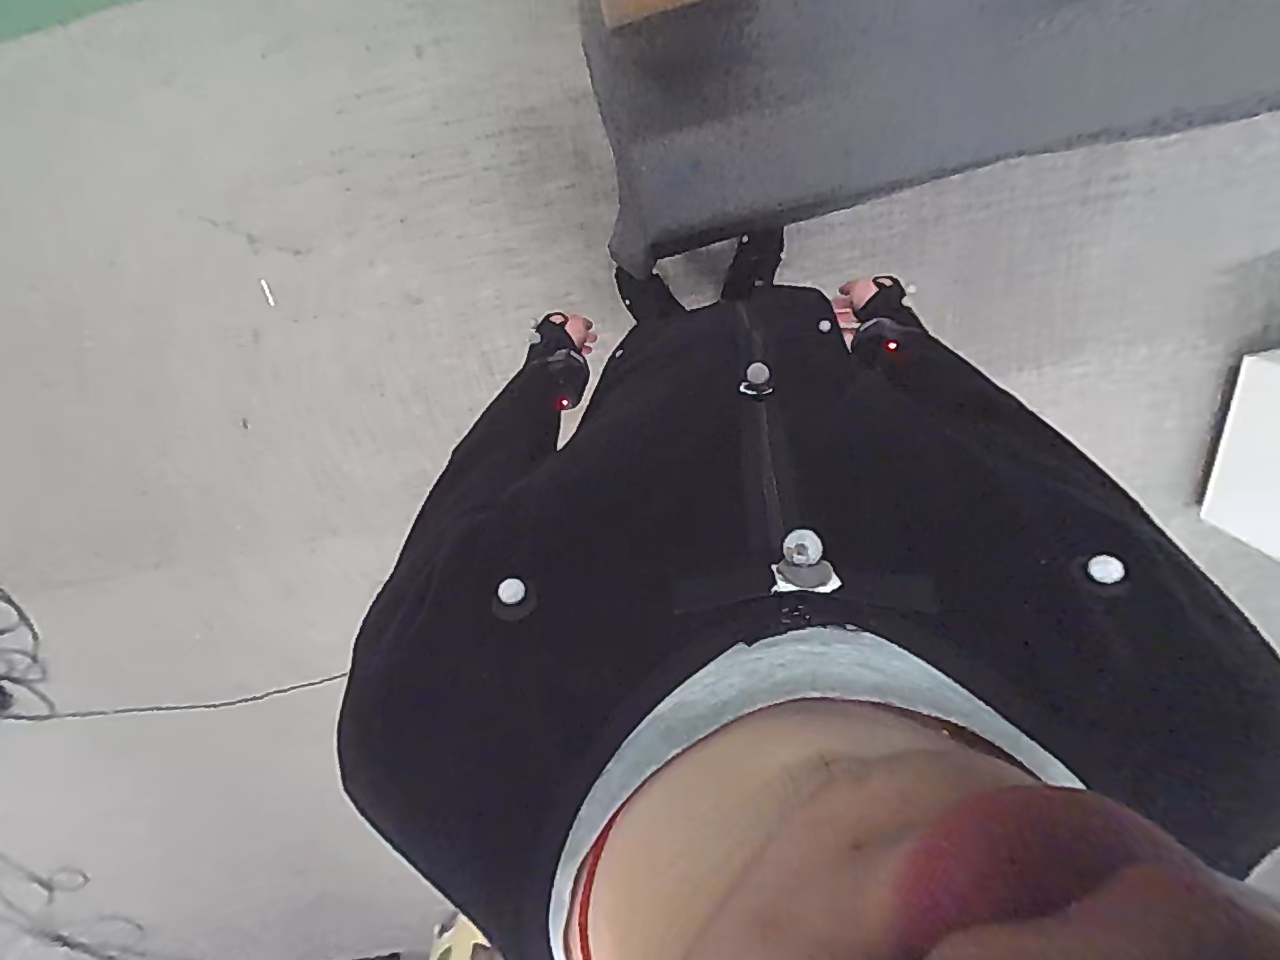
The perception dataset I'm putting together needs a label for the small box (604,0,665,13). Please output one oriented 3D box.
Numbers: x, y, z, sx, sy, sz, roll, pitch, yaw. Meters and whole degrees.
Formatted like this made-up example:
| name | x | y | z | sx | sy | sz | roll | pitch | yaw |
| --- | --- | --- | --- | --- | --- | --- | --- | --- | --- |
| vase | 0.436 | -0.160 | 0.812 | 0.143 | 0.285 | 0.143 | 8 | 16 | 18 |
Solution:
| name | x | y | z | sx | sy | sz | roll | pitch | yaw |
| --- | --- | --- | --- | --- | --- | --- | --- | --- | --- |
| small box | 0.031 | -0.560 | 0.478 | 0.179 | 0.176 | 0.168 | -15 | 115 | 2 |
